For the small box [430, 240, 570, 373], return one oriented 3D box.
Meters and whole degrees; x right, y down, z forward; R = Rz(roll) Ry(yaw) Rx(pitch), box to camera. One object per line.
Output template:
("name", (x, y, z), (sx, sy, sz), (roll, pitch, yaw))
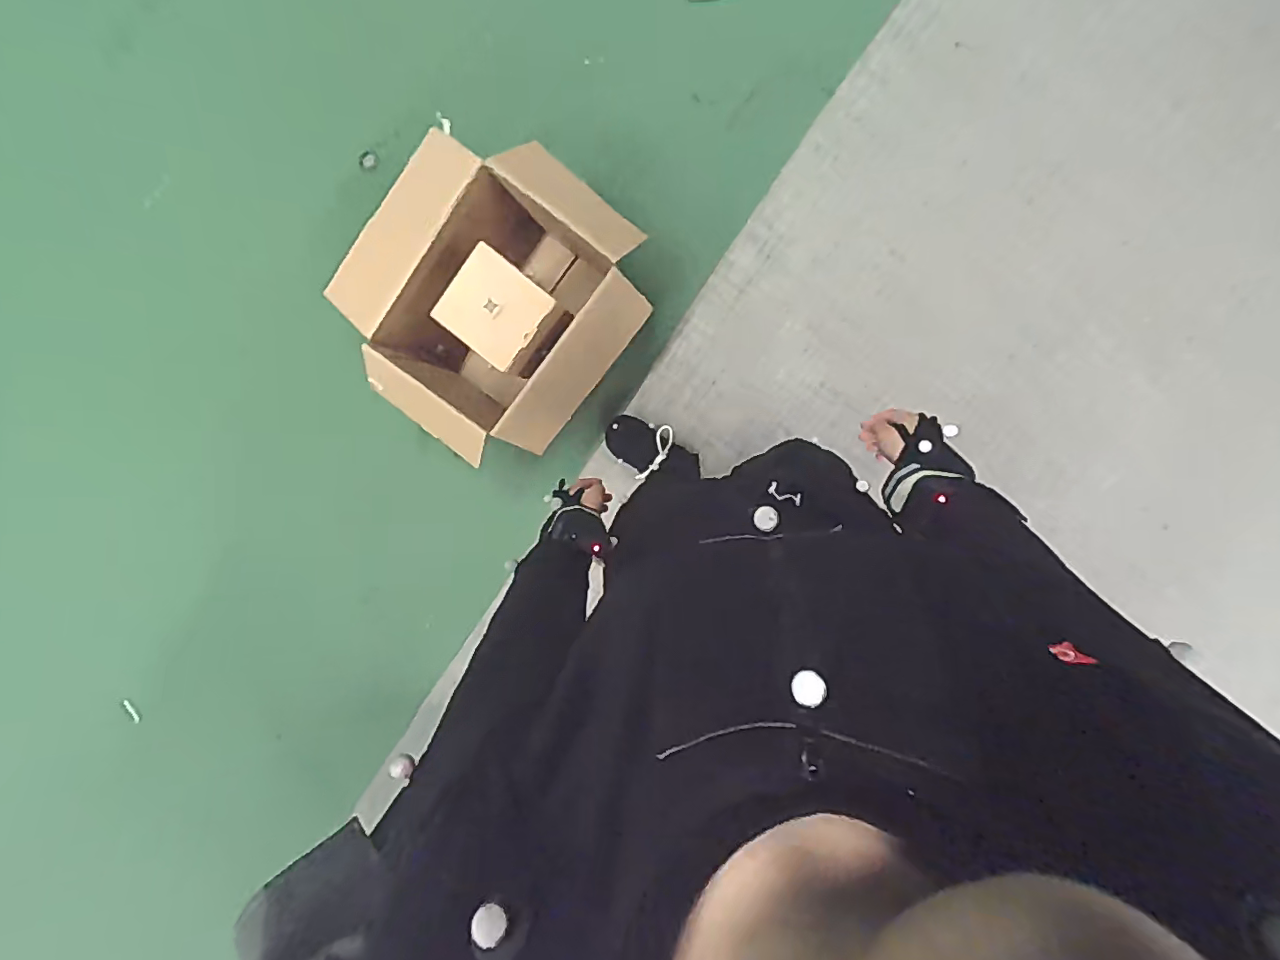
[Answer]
("small box", (-0.262, -0.321, 1.050), (0.179, 0.176, 0.168), (38, 98, -2))
